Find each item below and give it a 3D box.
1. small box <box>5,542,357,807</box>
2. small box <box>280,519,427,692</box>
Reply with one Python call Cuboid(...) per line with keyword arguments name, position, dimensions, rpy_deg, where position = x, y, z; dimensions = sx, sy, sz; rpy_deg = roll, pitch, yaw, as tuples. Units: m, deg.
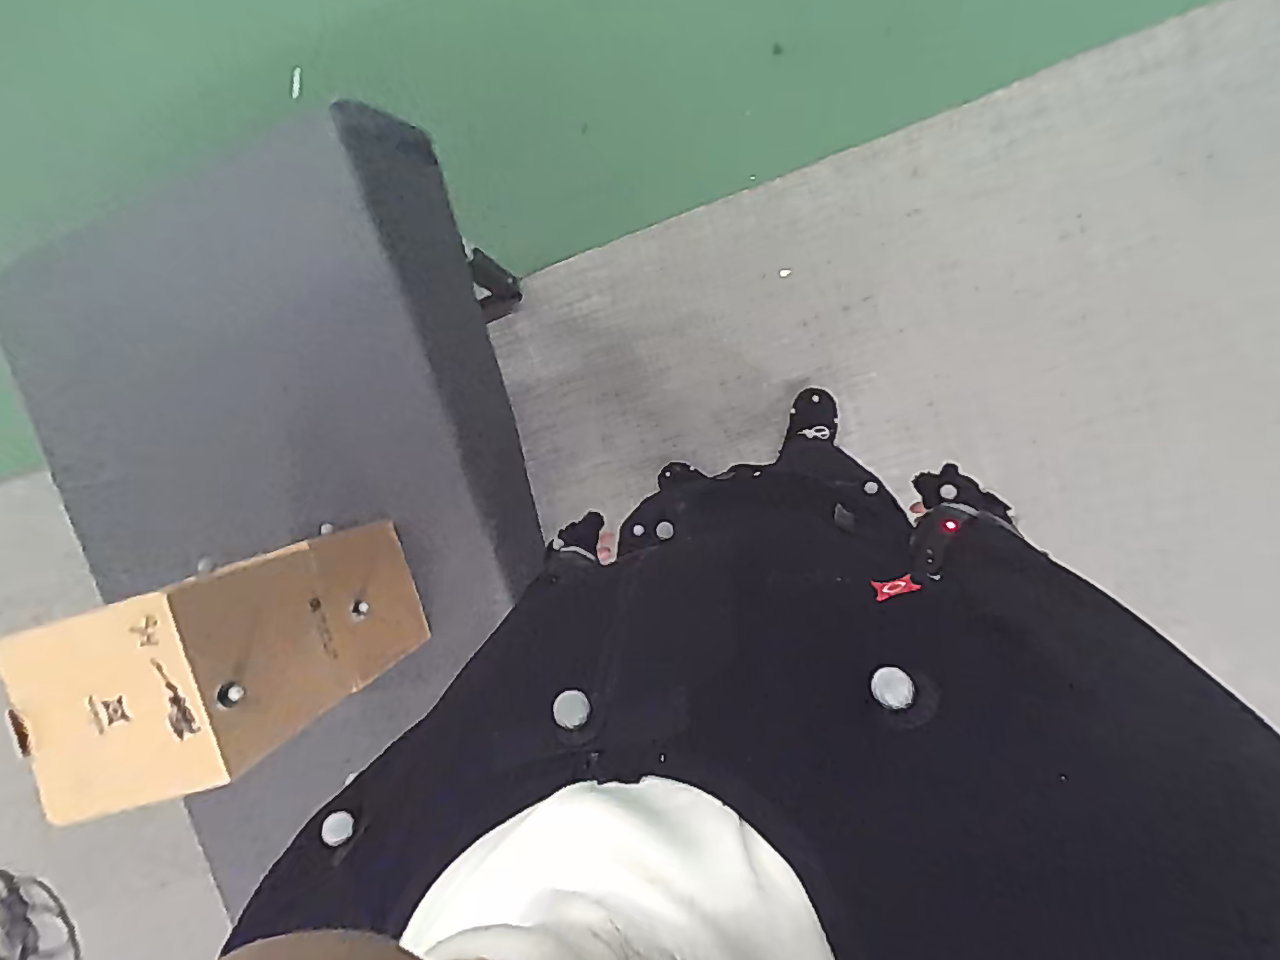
Cuboid(name="small box", position=(-0.423, 0.172, 0.527), dimensions=(0.179, 0.176, 0.168), rpy_deg=(-19, 91, 7))
Cuboid(name="small box", position=(-0.401, 0.161, 0.686), dimensions=(0.168, 0.176, 0.179), rpy_deg=(-18, 91, 7))
